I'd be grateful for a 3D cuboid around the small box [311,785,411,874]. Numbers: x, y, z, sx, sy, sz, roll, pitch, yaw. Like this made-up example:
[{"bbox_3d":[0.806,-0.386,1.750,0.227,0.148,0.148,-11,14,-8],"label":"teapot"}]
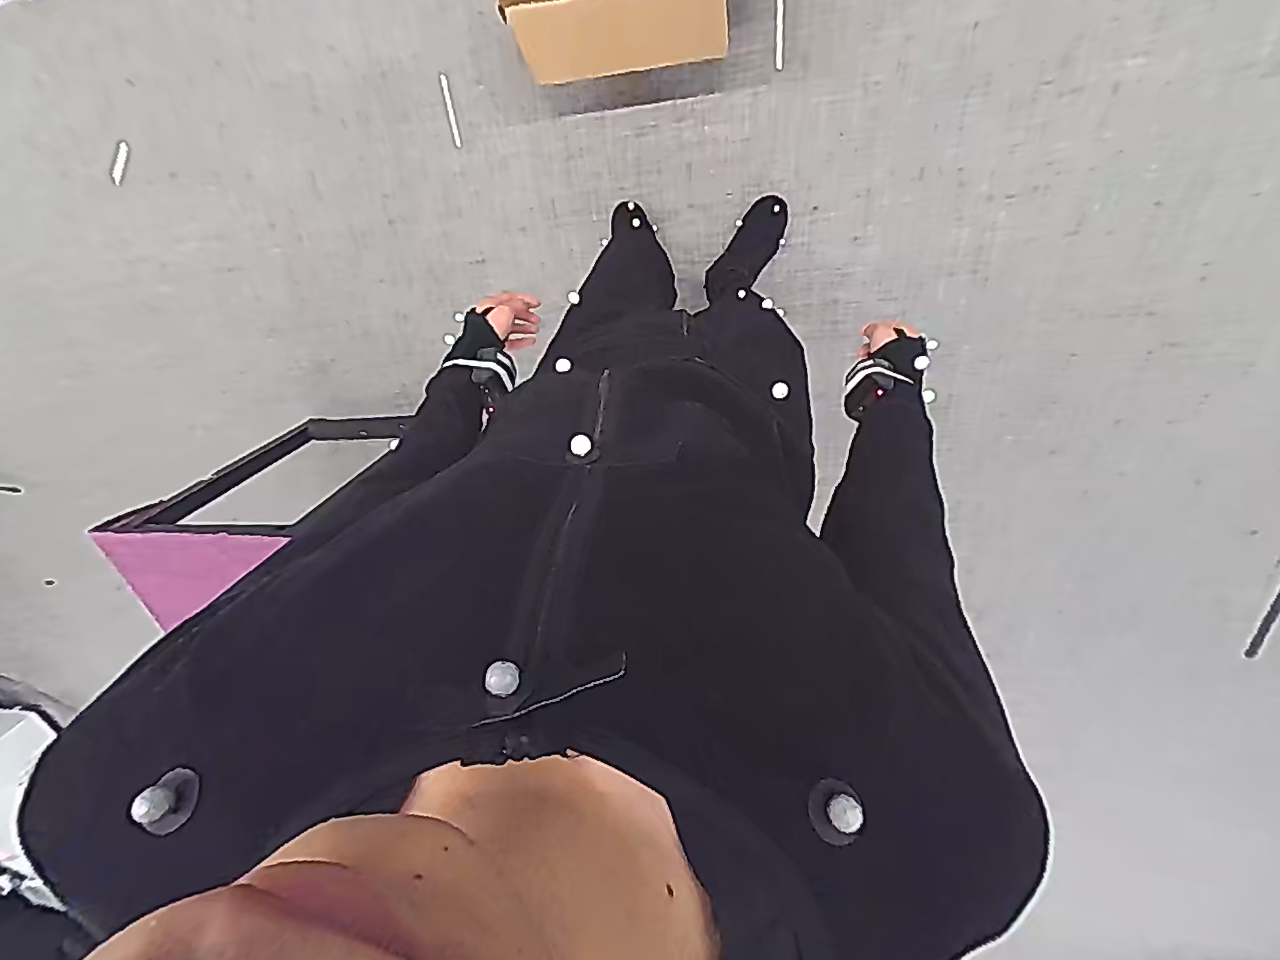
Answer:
[{"bbox_3d":[-0.841,1.057,1.646,0.179,0.176,0.168,-4,119,15],"label":"small box"}]
